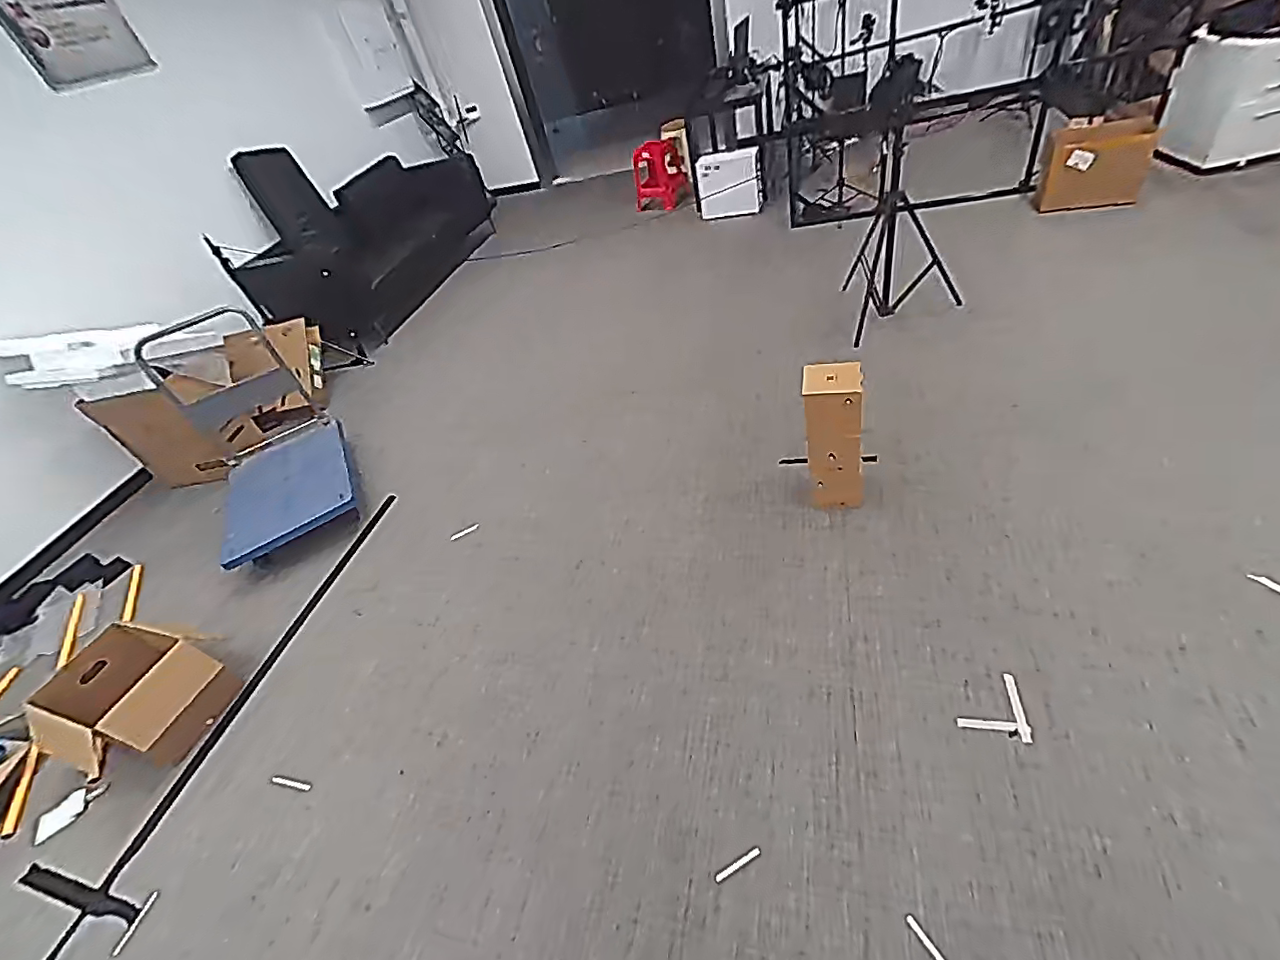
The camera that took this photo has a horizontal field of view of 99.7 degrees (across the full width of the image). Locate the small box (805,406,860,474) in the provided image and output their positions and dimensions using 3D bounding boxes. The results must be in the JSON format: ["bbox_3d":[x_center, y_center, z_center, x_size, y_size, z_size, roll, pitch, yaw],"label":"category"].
[{"bbox_3d":[0.659,-0.137,1.848,0.168,0.176,0.179,3,45,21],"label":"small box"}]

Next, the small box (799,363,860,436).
[{"bbox_3d":[0.613,-0.256,1.746,0.179,0.176,0.168,0,44,19],"label":"small box"}]
